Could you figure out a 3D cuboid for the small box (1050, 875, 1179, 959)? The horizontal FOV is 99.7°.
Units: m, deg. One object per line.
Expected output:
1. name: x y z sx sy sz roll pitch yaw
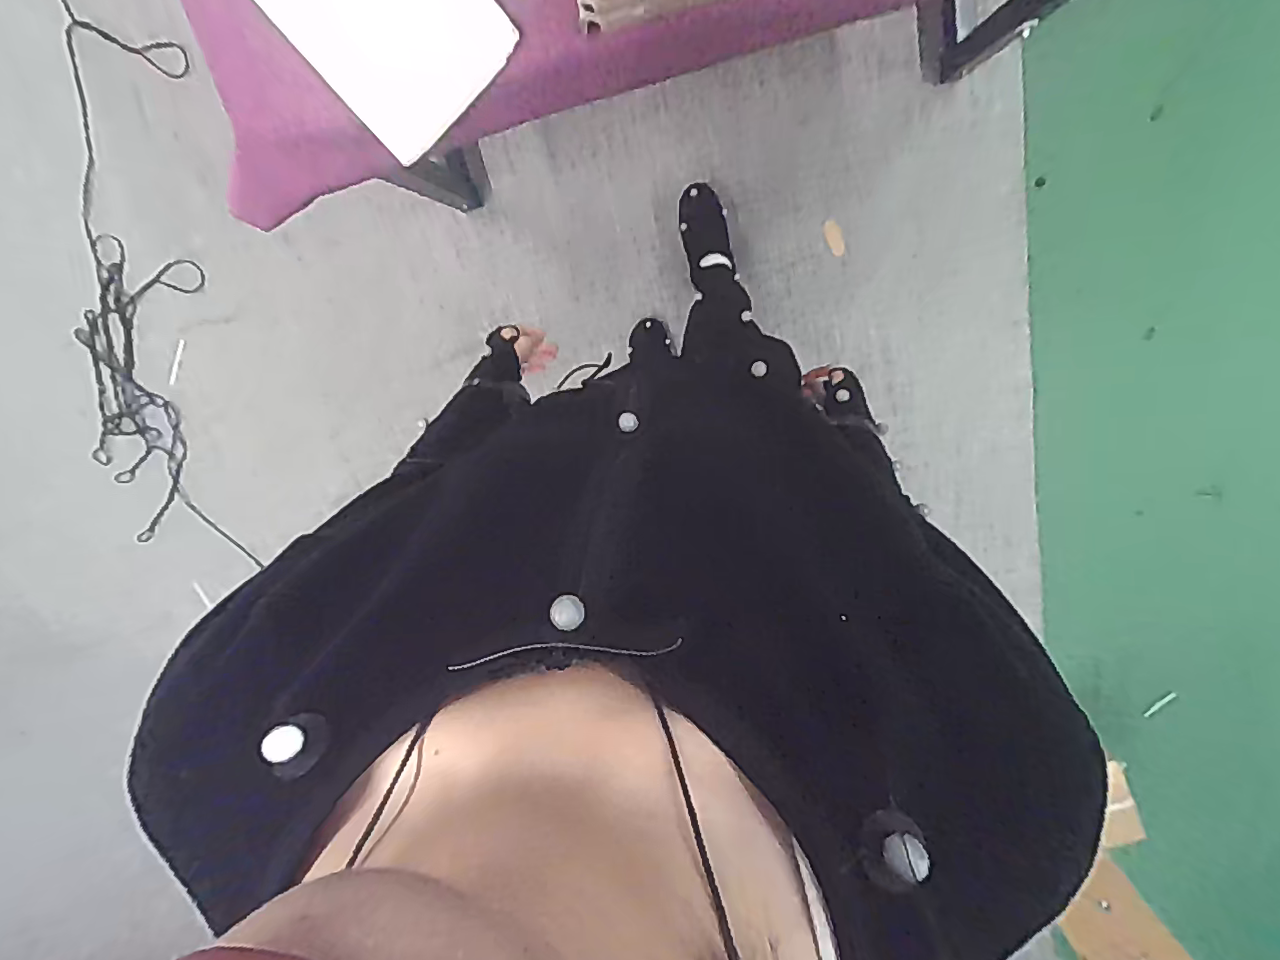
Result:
1. small box: 1.084 1.057 1.234 0.179 0.176 0.168 -28 104 10
